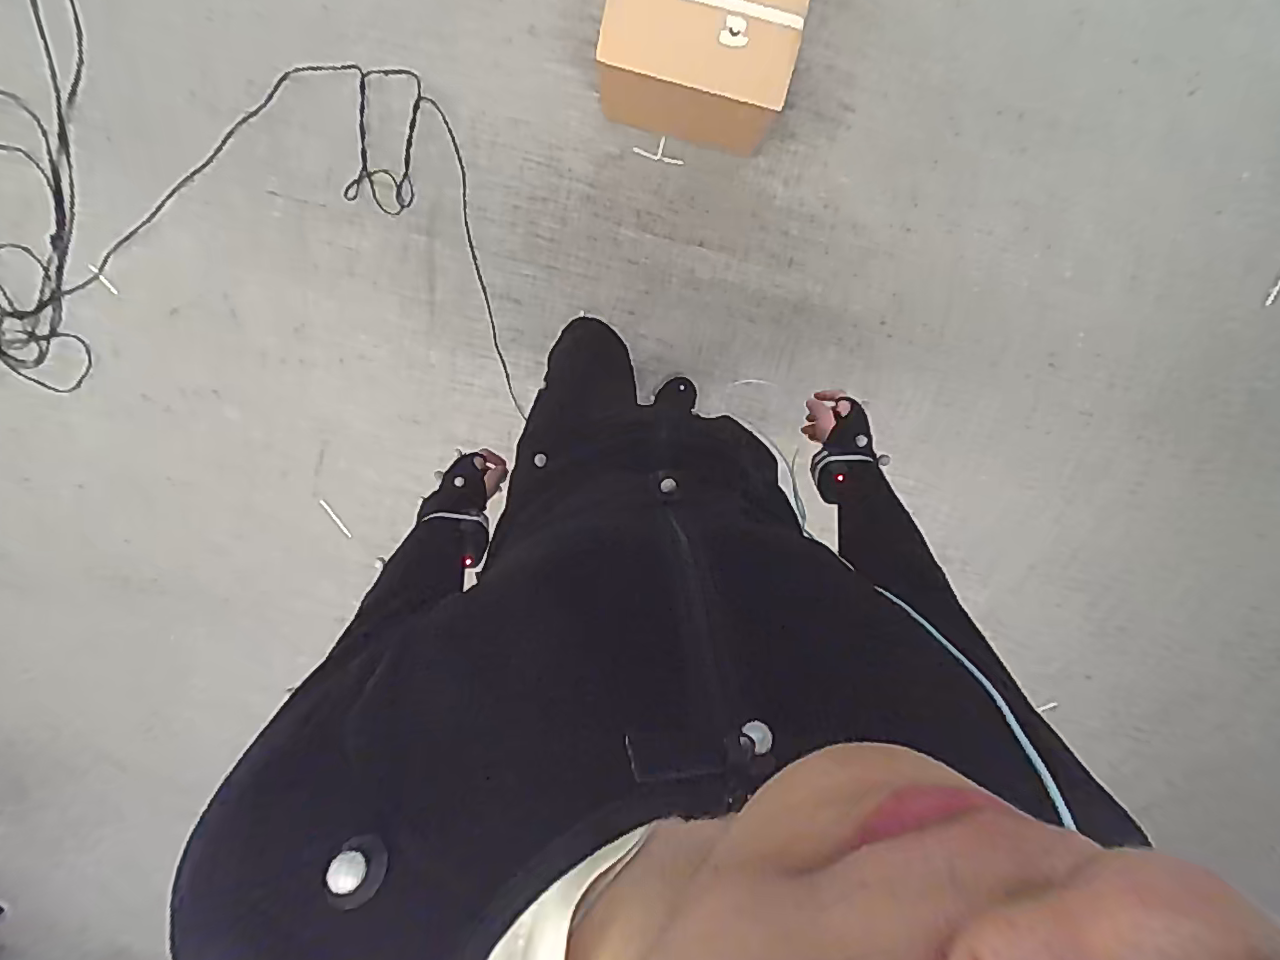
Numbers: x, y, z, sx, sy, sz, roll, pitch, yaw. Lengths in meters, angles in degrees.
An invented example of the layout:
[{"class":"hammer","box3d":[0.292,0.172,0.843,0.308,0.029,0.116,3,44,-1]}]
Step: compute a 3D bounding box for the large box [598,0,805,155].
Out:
[{"class":"large box","box3d":[0.131,-1.006,1.245,0.408,0.320,0.320,12,104,-3]}]
